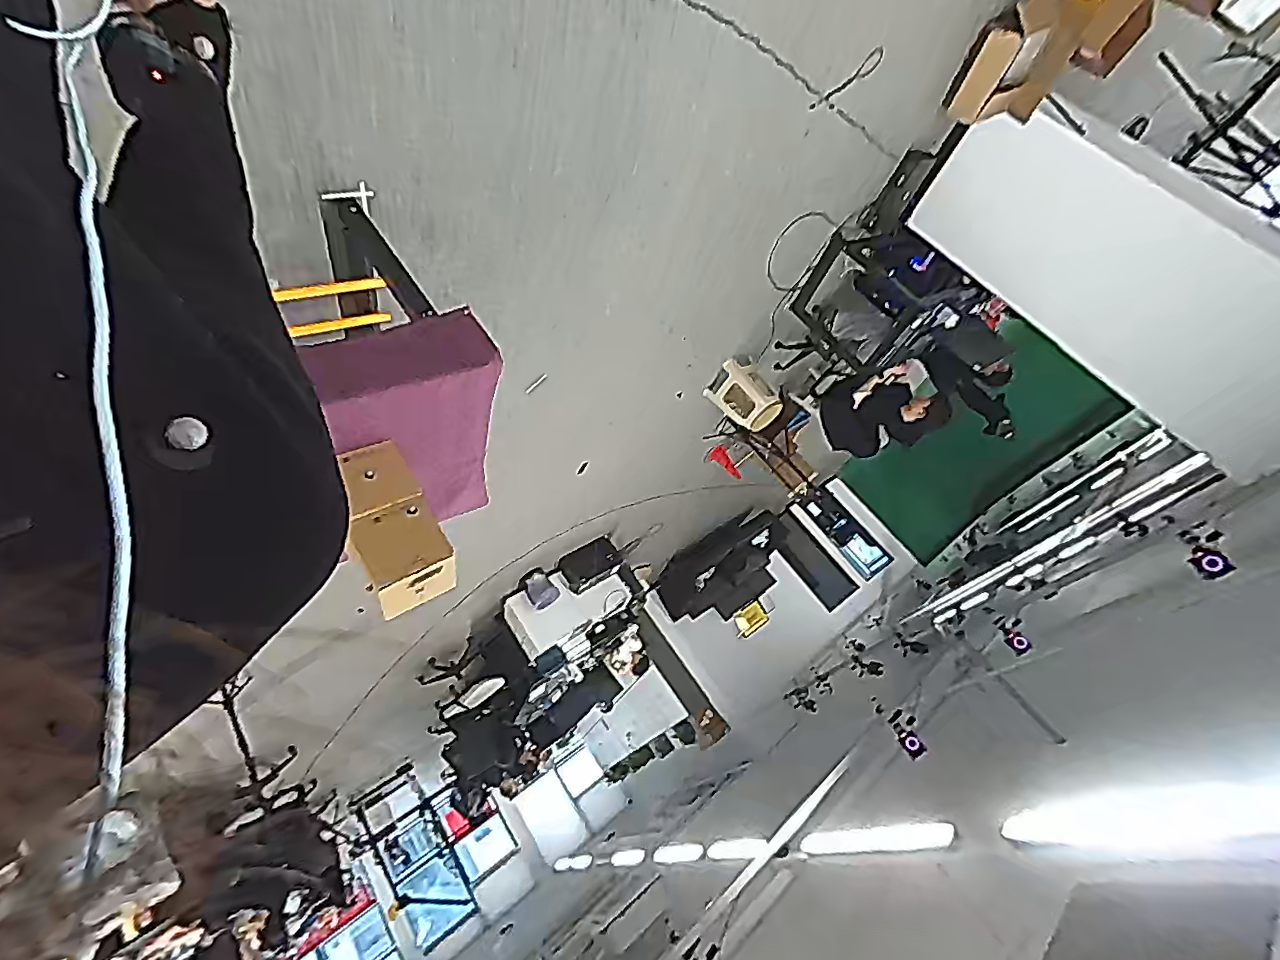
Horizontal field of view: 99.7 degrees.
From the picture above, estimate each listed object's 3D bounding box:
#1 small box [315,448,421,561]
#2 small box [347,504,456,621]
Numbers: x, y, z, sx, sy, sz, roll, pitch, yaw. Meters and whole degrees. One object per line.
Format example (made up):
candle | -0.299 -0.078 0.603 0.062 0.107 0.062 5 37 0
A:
small box | -0.619 0.047 1.236 0.168 0.176 0.179 -23 155 -35
small box | -0.523 0.173 1.192 0.168 0.176 0.179 -26 157 -31
